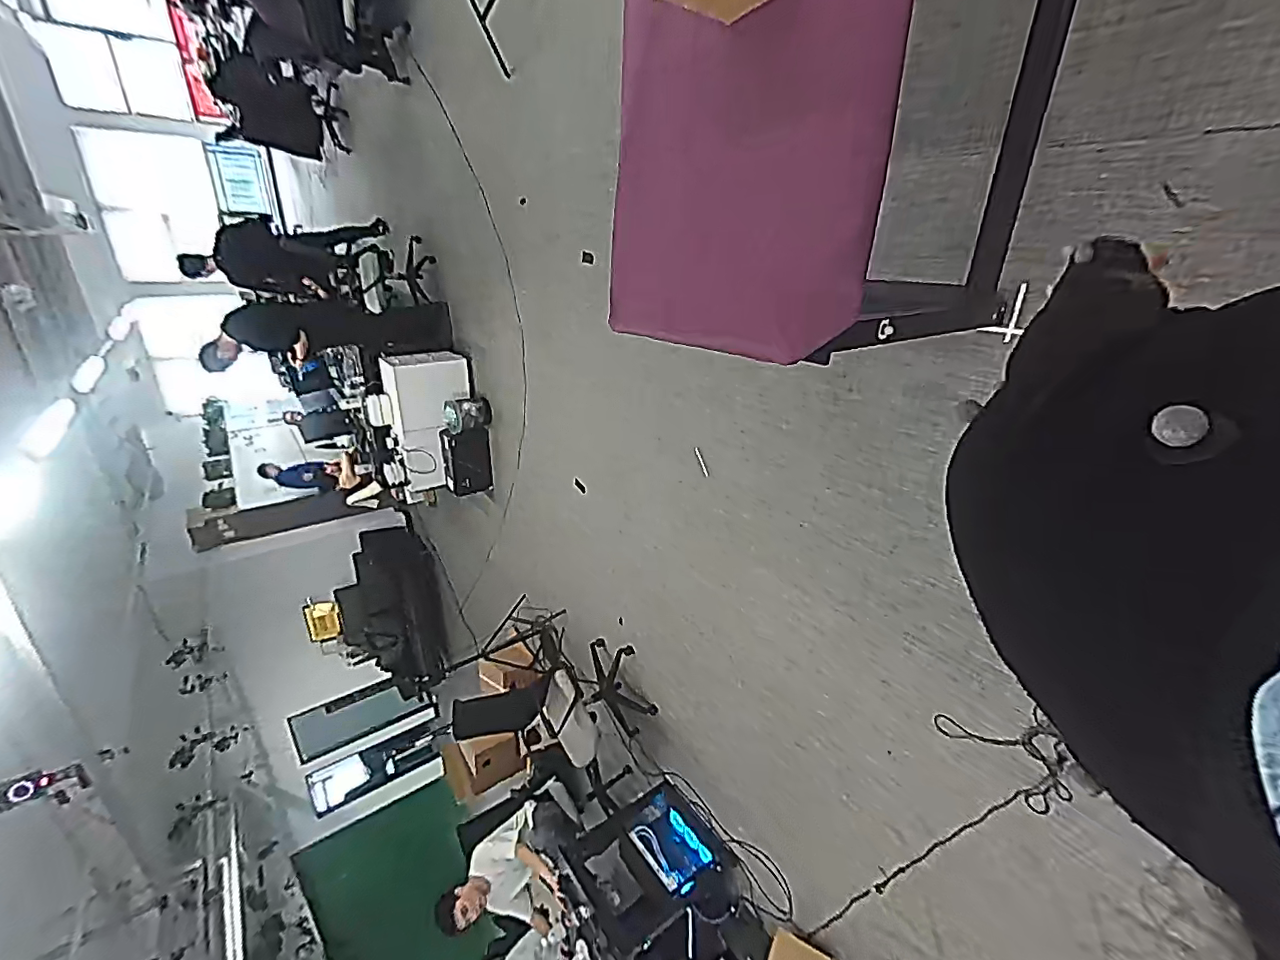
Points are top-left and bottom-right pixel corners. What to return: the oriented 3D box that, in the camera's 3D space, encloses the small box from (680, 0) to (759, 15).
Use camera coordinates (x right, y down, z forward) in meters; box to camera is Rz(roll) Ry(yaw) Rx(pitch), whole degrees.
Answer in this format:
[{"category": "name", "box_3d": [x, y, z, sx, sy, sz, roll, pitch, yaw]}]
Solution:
[{"category": "small box", "box_3d": [0.135, -0.813, 0.768, 0.179, 0.176, 0.168, 20, 118, 52]}]
